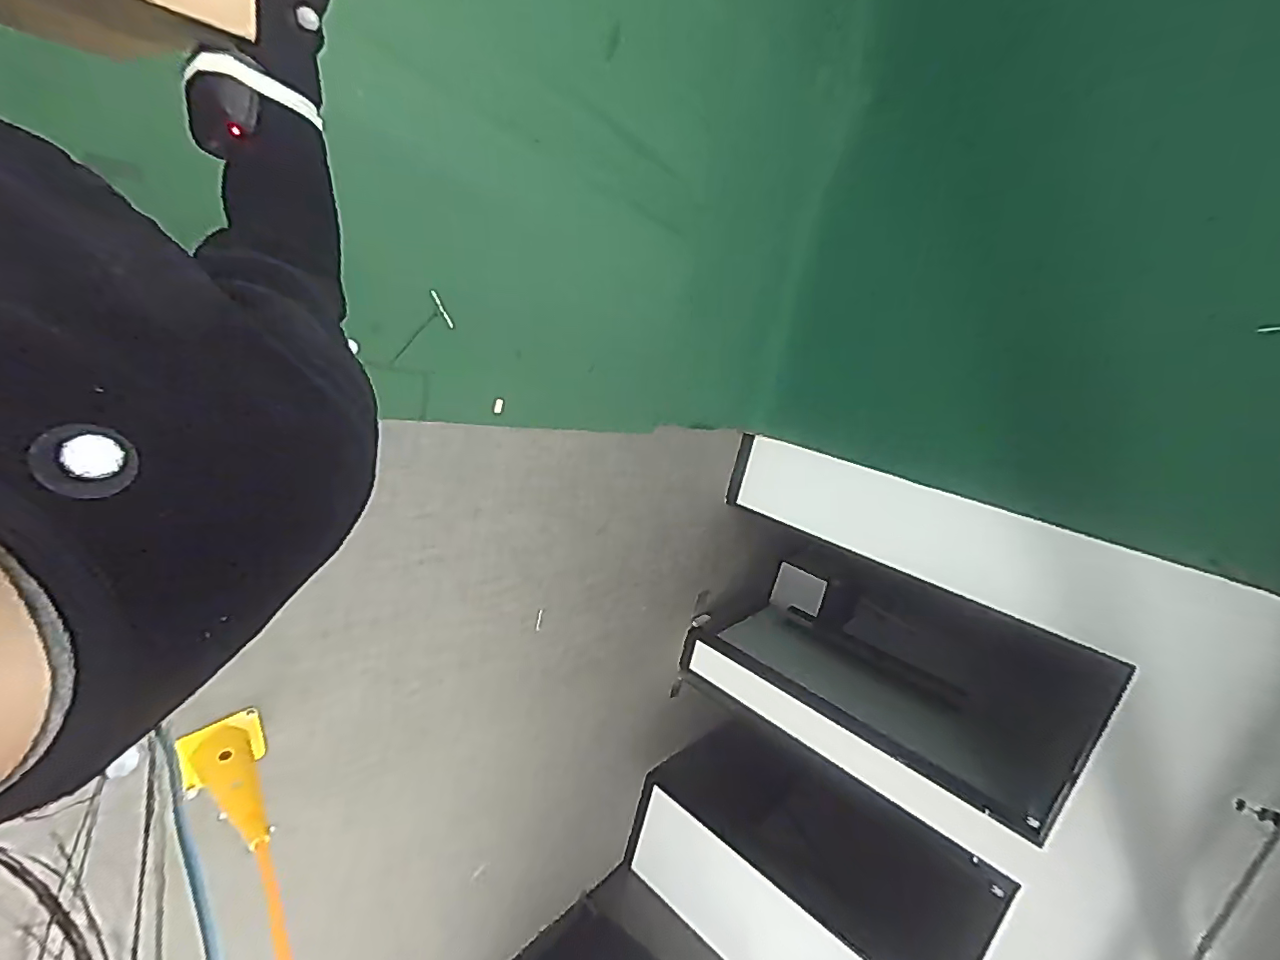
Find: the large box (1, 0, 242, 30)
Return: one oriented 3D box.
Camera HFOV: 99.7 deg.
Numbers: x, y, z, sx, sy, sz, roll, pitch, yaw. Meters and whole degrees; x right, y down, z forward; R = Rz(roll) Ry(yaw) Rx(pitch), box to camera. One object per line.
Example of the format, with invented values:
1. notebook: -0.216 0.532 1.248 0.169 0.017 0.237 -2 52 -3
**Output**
1. large box: -0.508 -0.495 0.272 0.408 0.320 0.320 -20 127 -53
